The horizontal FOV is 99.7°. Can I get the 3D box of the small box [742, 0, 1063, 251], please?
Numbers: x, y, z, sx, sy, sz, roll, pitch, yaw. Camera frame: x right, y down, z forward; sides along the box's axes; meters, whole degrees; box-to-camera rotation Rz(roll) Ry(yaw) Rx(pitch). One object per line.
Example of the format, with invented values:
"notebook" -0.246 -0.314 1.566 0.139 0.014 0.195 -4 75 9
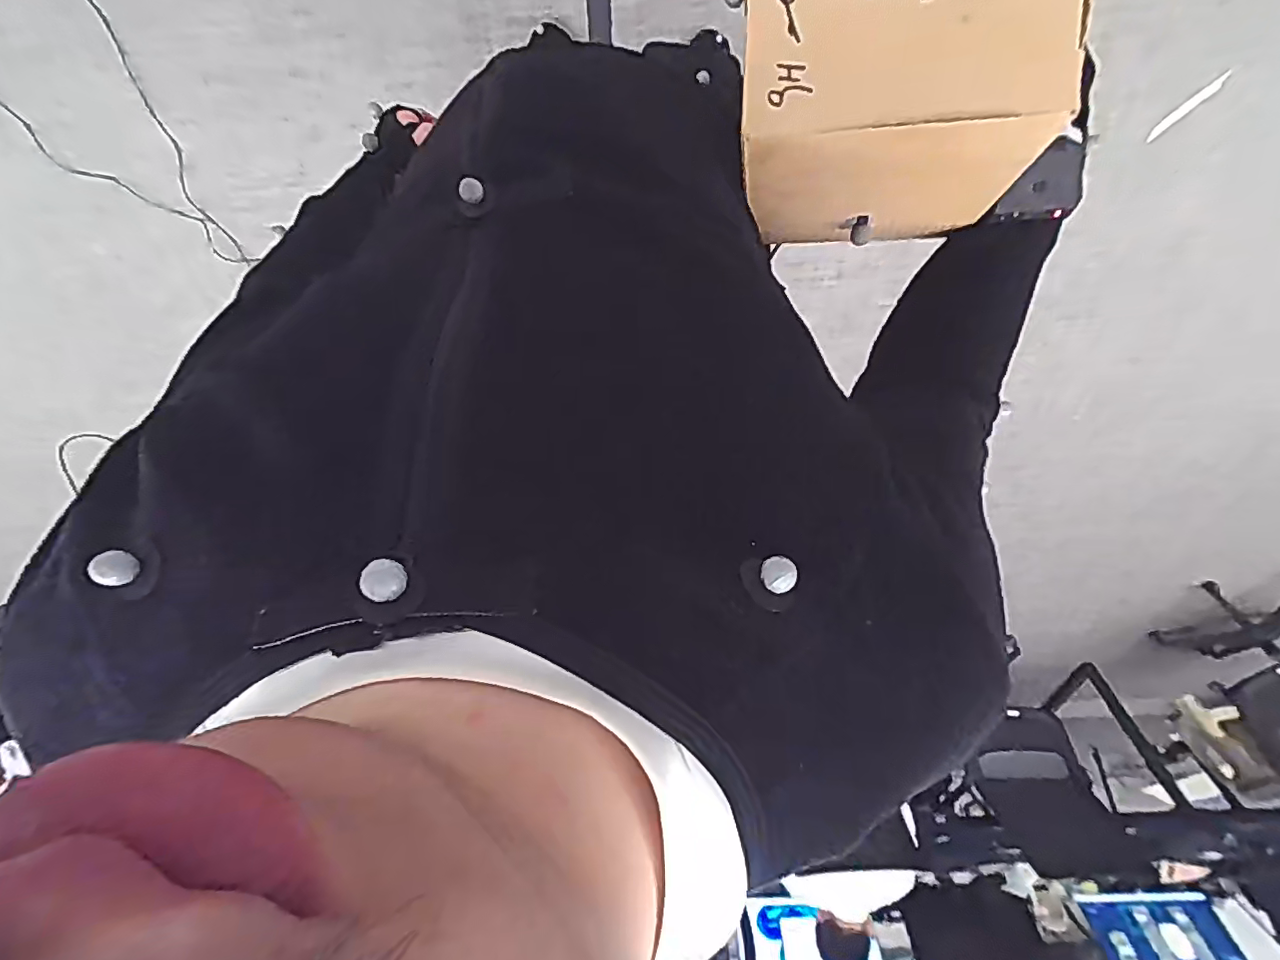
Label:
"small box" 0.168 -0.282 0.396 0.179 0.176 0.168 3 92 11
